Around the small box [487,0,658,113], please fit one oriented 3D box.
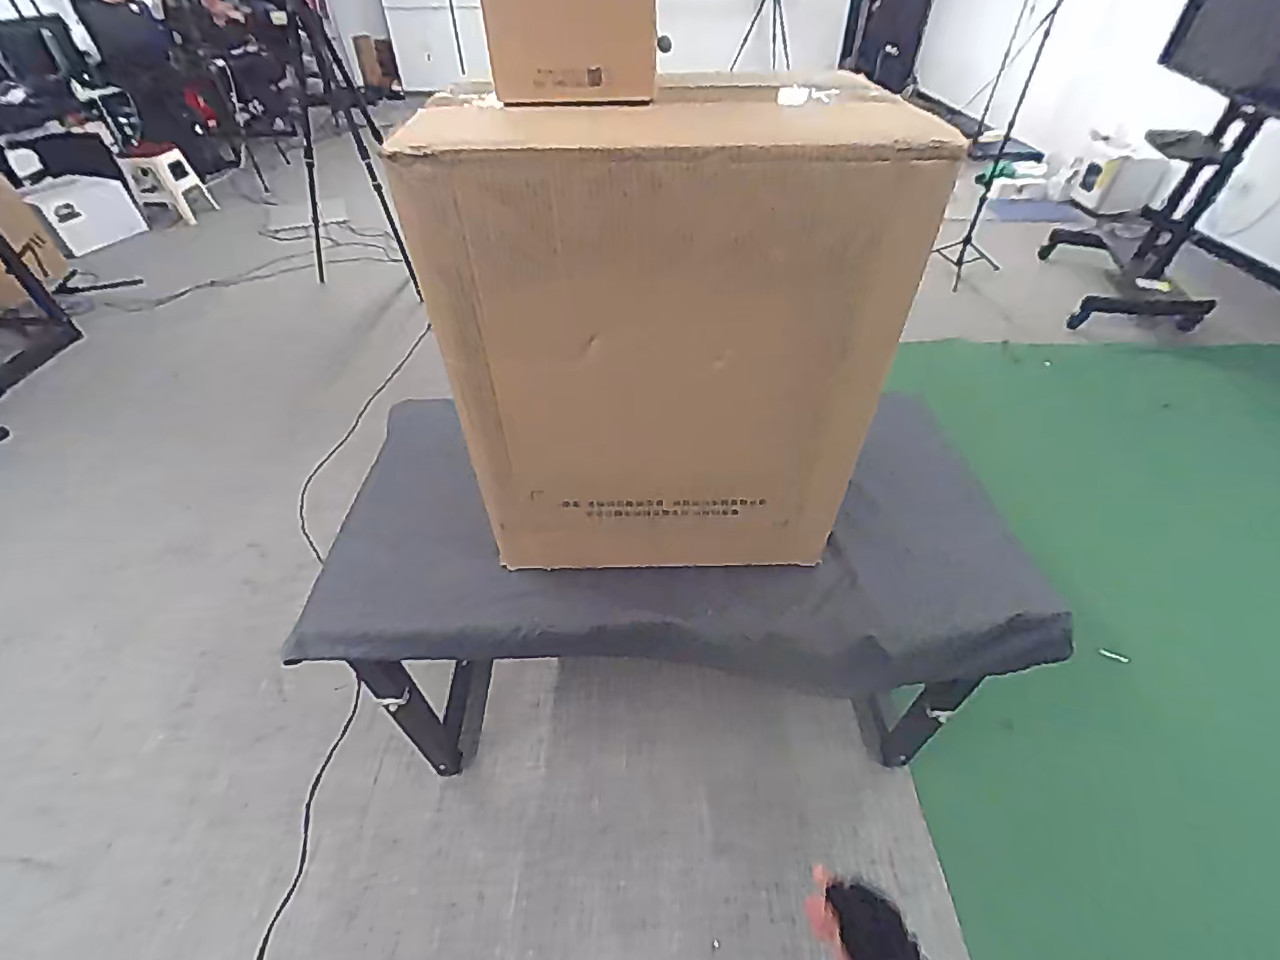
[{"bbox_3d":[-0.065,-0.504,0.573,0.168,0.176,0.179,0,43,2],"label":"small box"}]
